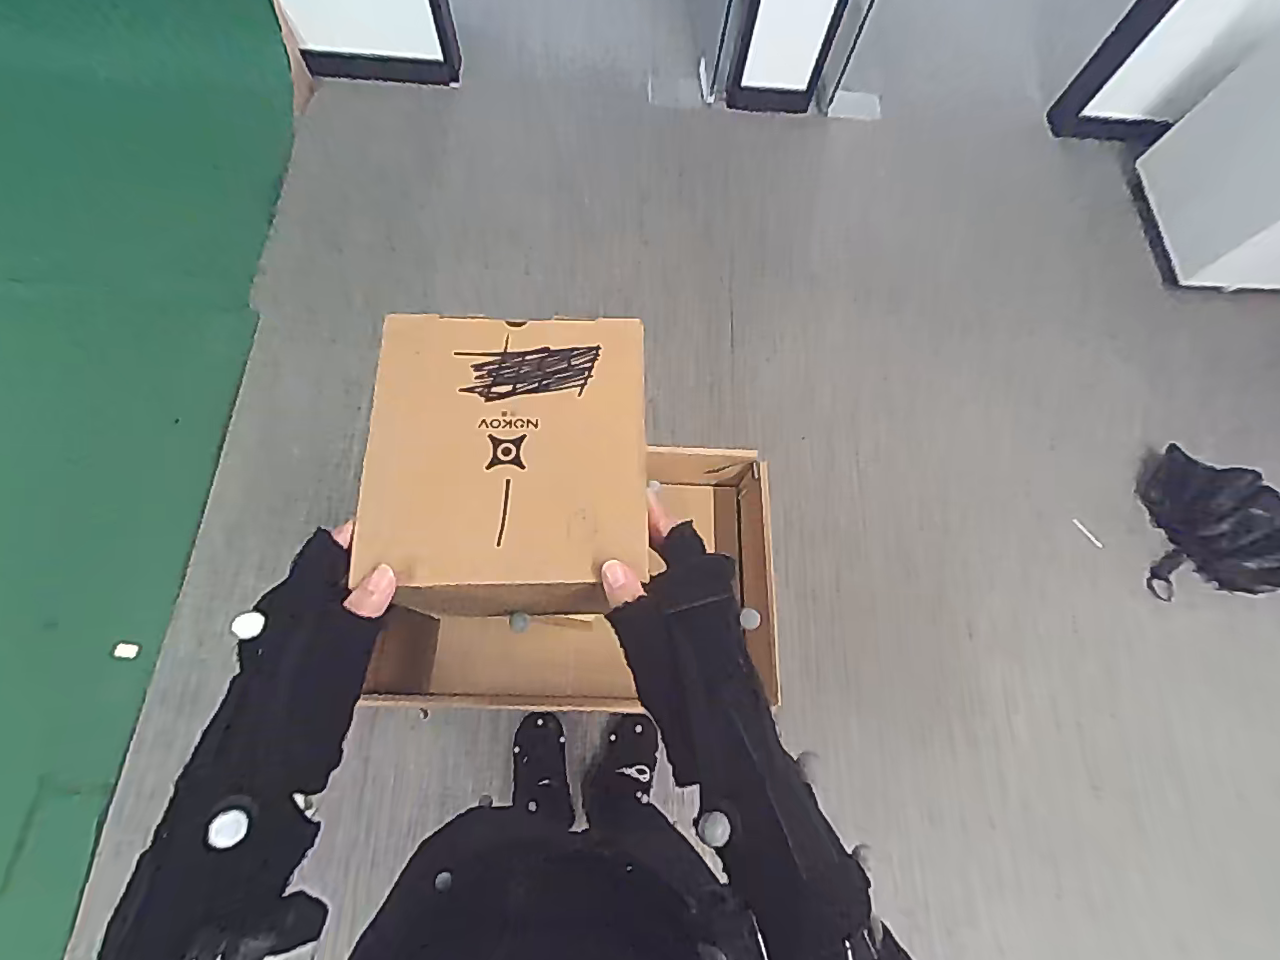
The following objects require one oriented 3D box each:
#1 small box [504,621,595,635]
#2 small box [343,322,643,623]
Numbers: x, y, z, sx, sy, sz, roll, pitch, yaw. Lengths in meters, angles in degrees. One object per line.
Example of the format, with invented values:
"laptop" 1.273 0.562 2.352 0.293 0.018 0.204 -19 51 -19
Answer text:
"small box" -0.140 0.139 0.857 0.168 0.176 0.179 9 69 0
"small box" -0.086 0.006 0.400 0.168 0.176 0.179 -1 70 -3
